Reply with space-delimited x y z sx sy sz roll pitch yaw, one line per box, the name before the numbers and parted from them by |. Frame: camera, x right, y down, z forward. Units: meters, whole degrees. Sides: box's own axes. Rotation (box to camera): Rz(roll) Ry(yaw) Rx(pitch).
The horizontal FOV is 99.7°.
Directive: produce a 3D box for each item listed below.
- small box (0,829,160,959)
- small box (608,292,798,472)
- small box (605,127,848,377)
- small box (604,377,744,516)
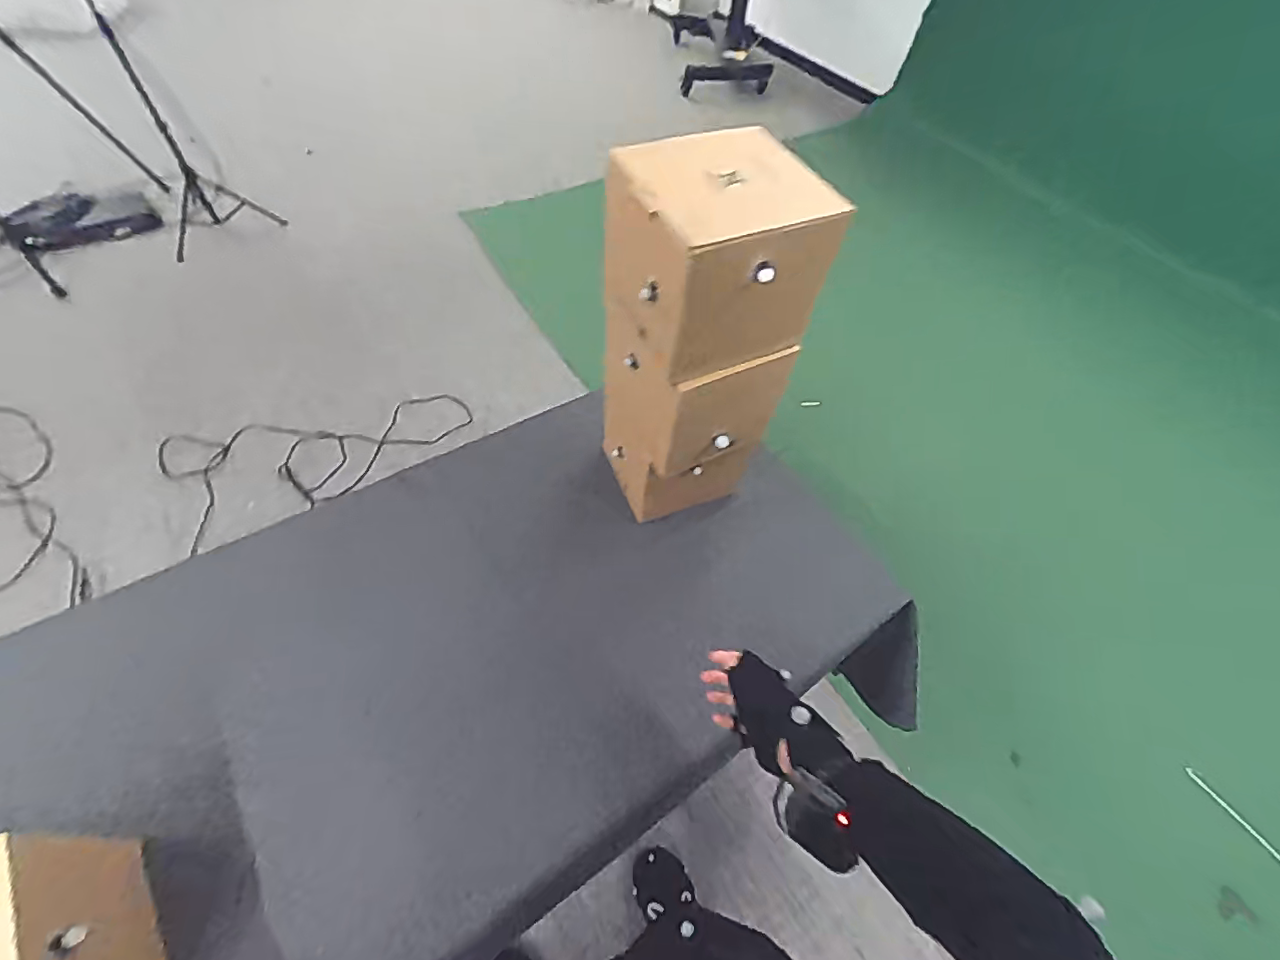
small box | -0.543 0.429 0.444 0.168 0.176 0.179 -29 63 -24
small box | 0.065 -0.141 0.701 0.168 0.176 0.179 -22 61 -18
small box | 0.073 -0.233 0.566 0.179 0.176 0.168 -20 61 -17
small box | 0.051 -0.065 0.846 0.179 0.176 0.168 -16 59 -16
